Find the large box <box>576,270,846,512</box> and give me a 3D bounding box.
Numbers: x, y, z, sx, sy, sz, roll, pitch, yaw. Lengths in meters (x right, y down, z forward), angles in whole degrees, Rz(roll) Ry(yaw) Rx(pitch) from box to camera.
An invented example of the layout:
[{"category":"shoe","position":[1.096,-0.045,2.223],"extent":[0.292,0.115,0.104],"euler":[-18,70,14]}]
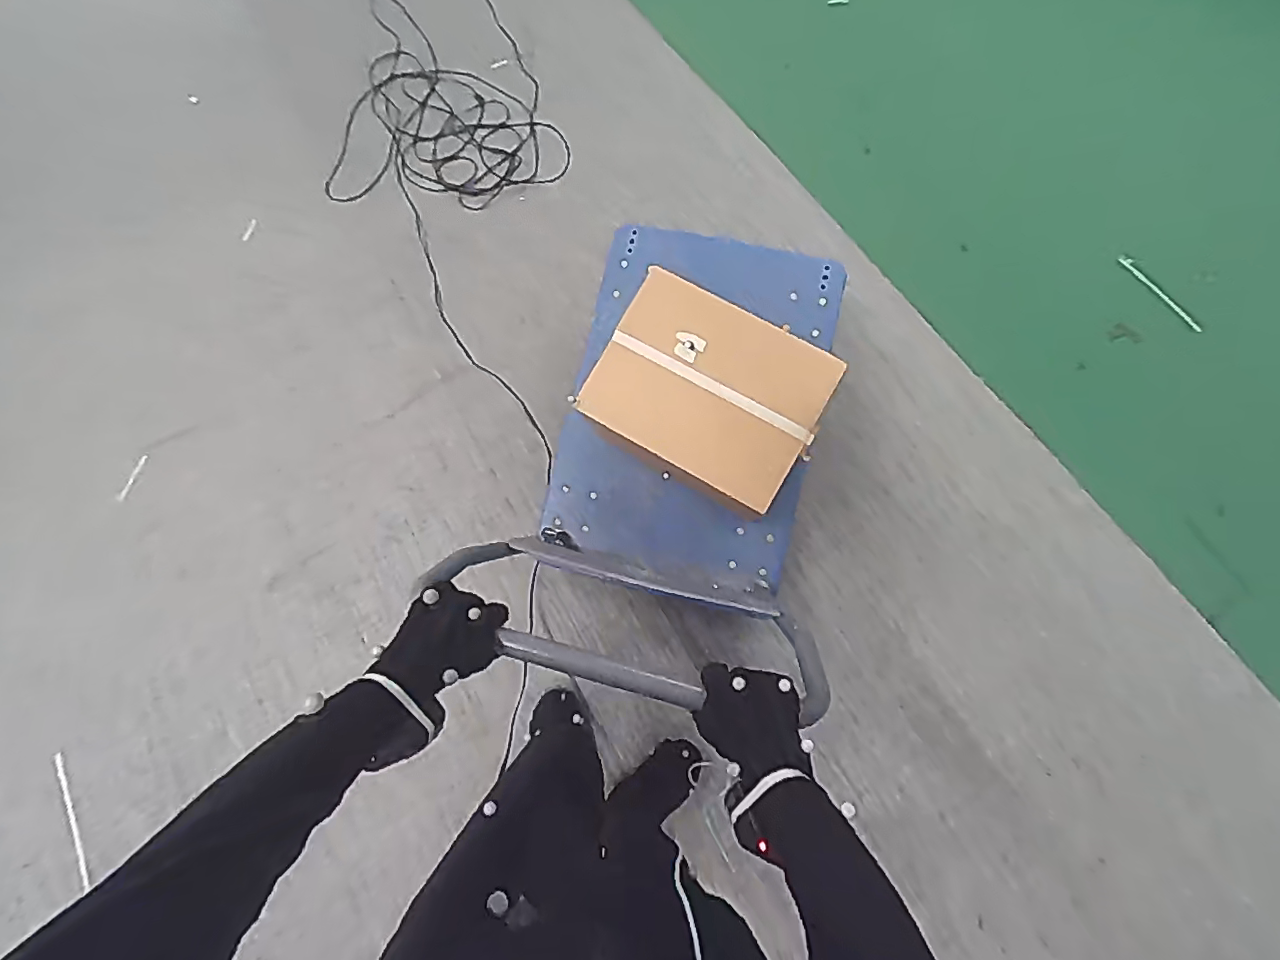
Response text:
[{"category":"large box","position":[0.142,-0.158,1.126],"extent":[0.408,0.320,0.320],"euler":[29,88,9]}]
